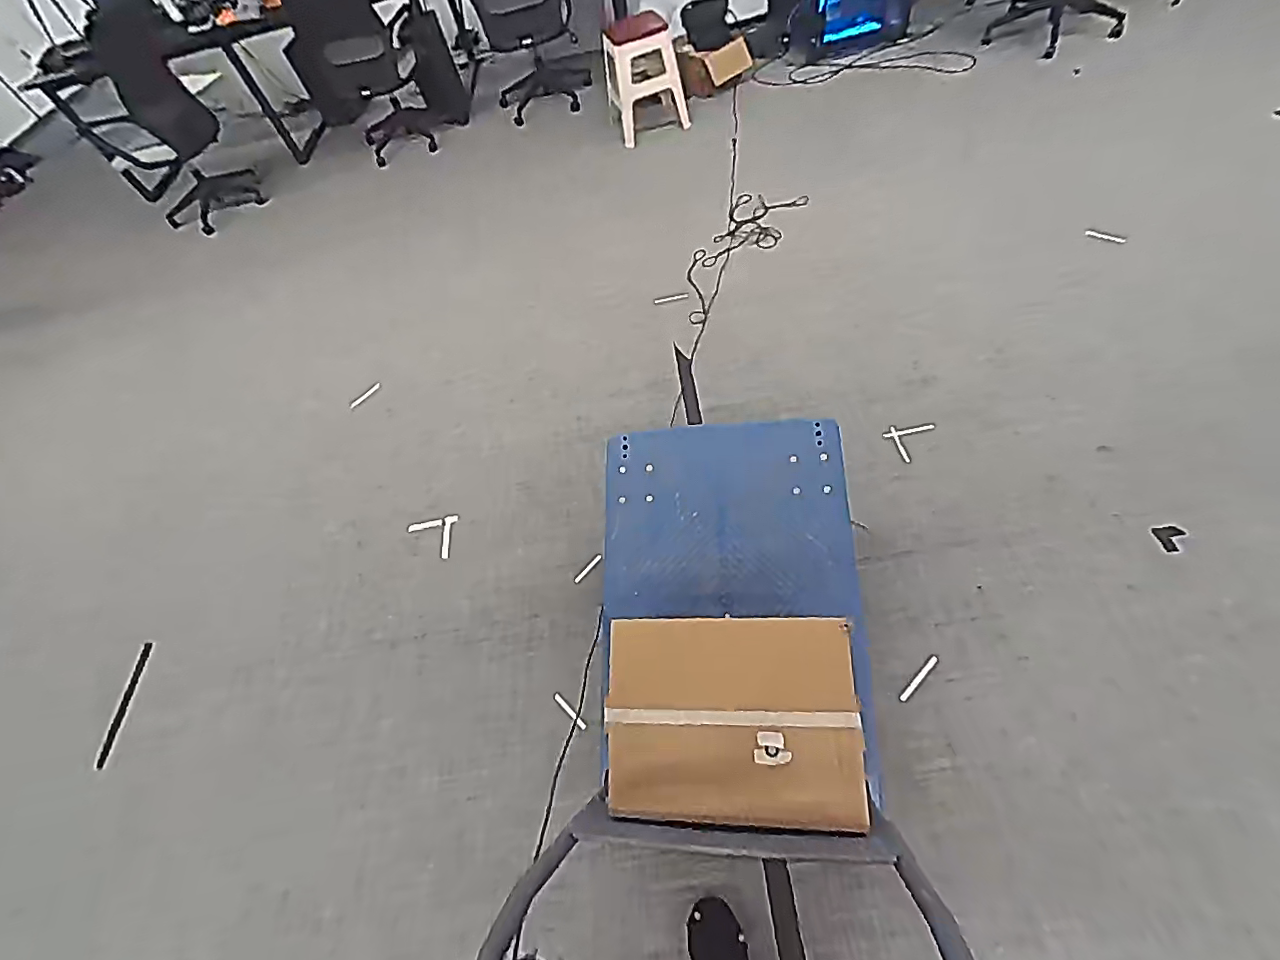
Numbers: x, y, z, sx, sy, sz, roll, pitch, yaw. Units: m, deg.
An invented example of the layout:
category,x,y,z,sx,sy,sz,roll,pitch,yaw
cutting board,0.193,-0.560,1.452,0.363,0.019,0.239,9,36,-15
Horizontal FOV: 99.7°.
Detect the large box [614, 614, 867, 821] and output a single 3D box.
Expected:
category,x,y,z,sx,sy,sz,roll,pitch,yaw
large box,0.176,0.434,1.041,0.408,0.320,0.320,-4,73,10
